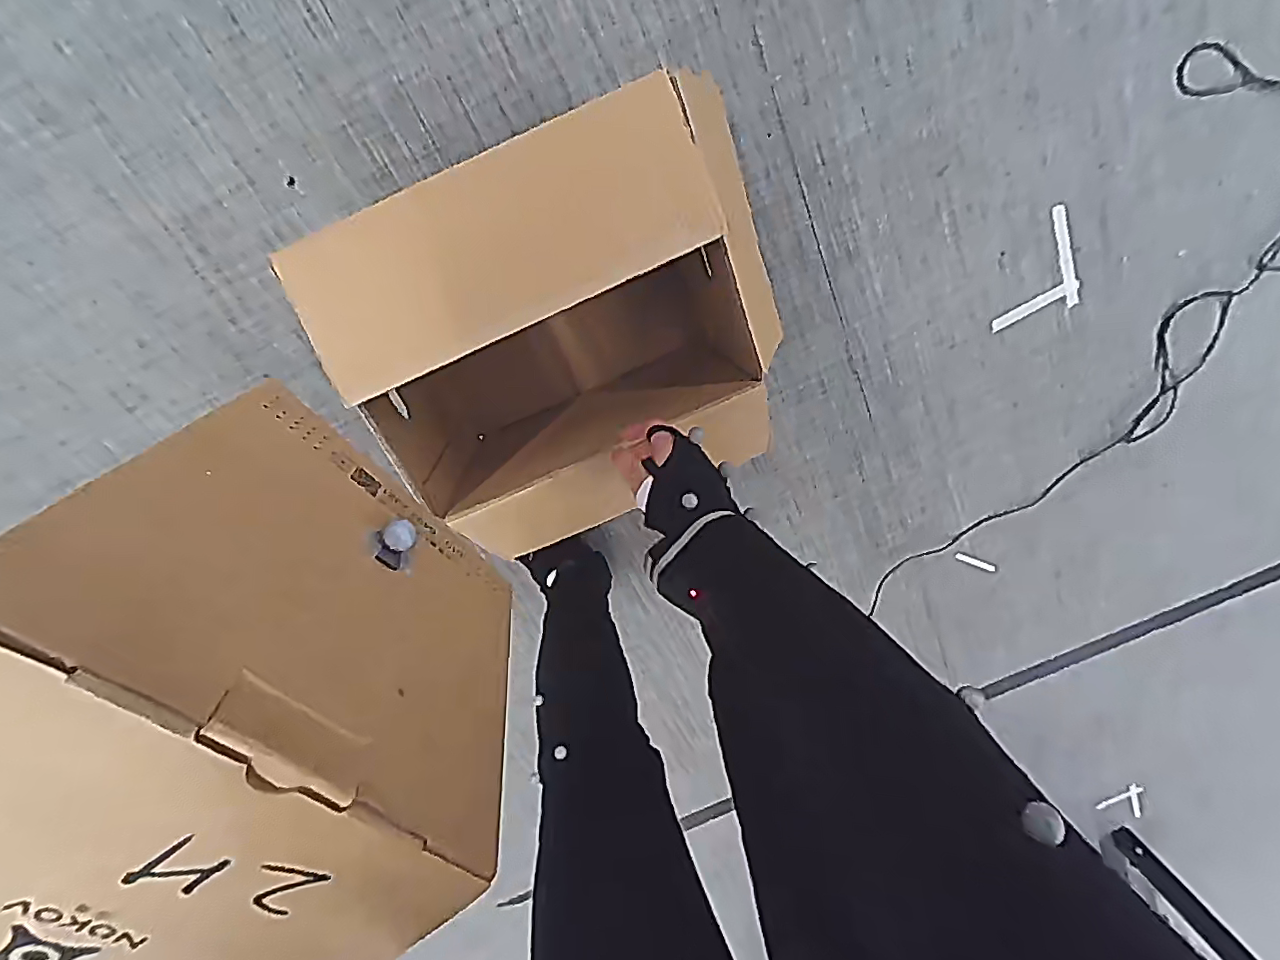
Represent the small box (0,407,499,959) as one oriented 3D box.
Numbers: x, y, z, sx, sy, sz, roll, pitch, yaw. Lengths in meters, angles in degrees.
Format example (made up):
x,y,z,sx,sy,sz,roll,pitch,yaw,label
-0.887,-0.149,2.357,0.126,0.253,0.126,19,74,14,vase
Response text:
x,y,z,sx,sy,sz,roll,pitch,yaw,label
-0.177,0.098,0.231,0.179,0.176,0.168,-37,116,6,small box
